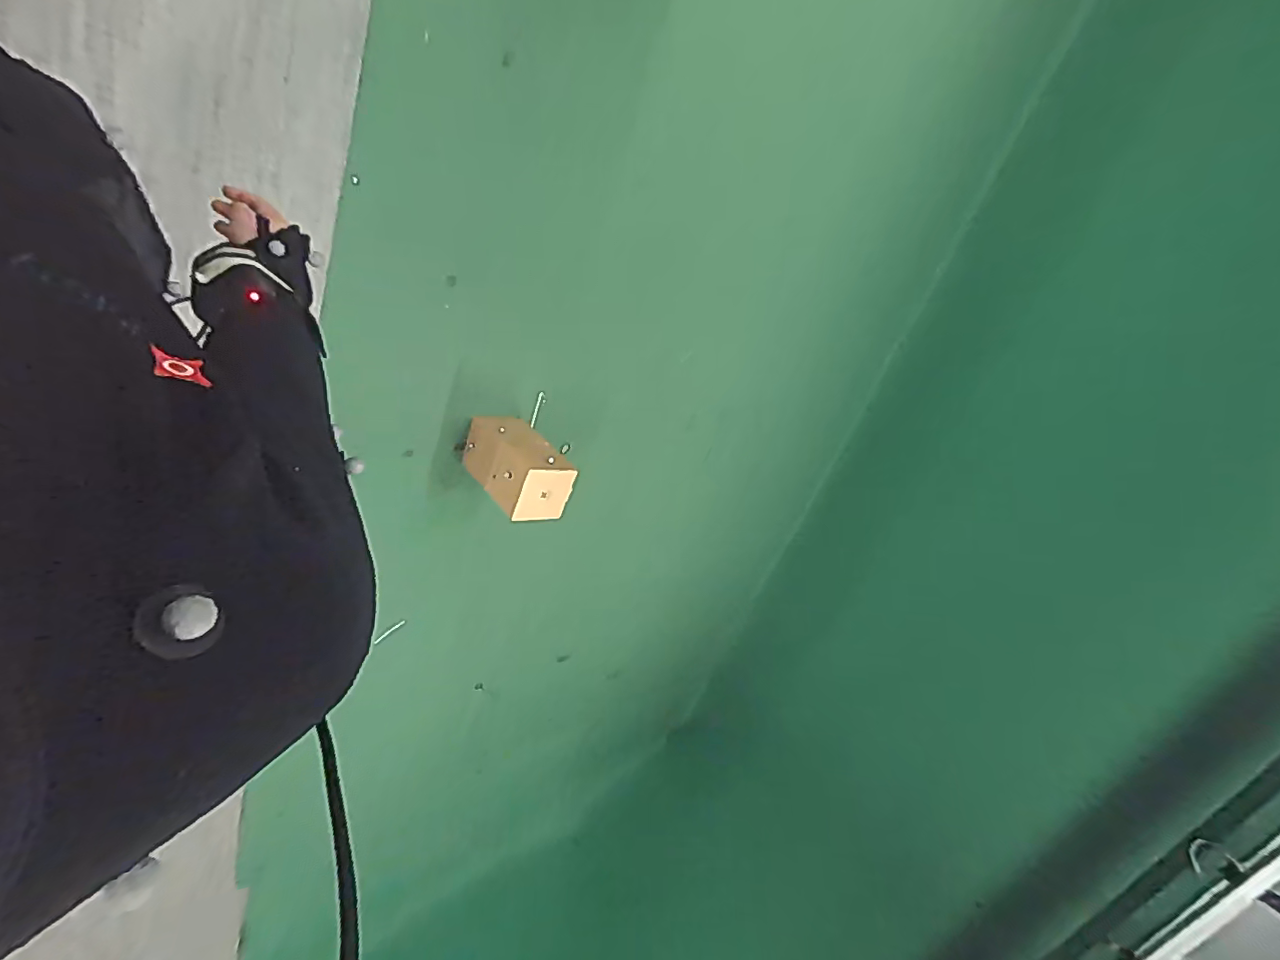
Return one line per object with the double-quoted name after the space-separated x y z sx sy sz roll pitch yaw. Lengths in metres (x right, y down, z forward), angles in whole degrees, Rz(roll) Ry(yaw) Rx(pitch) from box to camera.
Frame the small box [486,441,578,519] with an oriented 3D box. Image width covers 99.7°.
-0.317 -0.002 1.564 0.179 0.176 0.168 0 120 -48 "small box"
